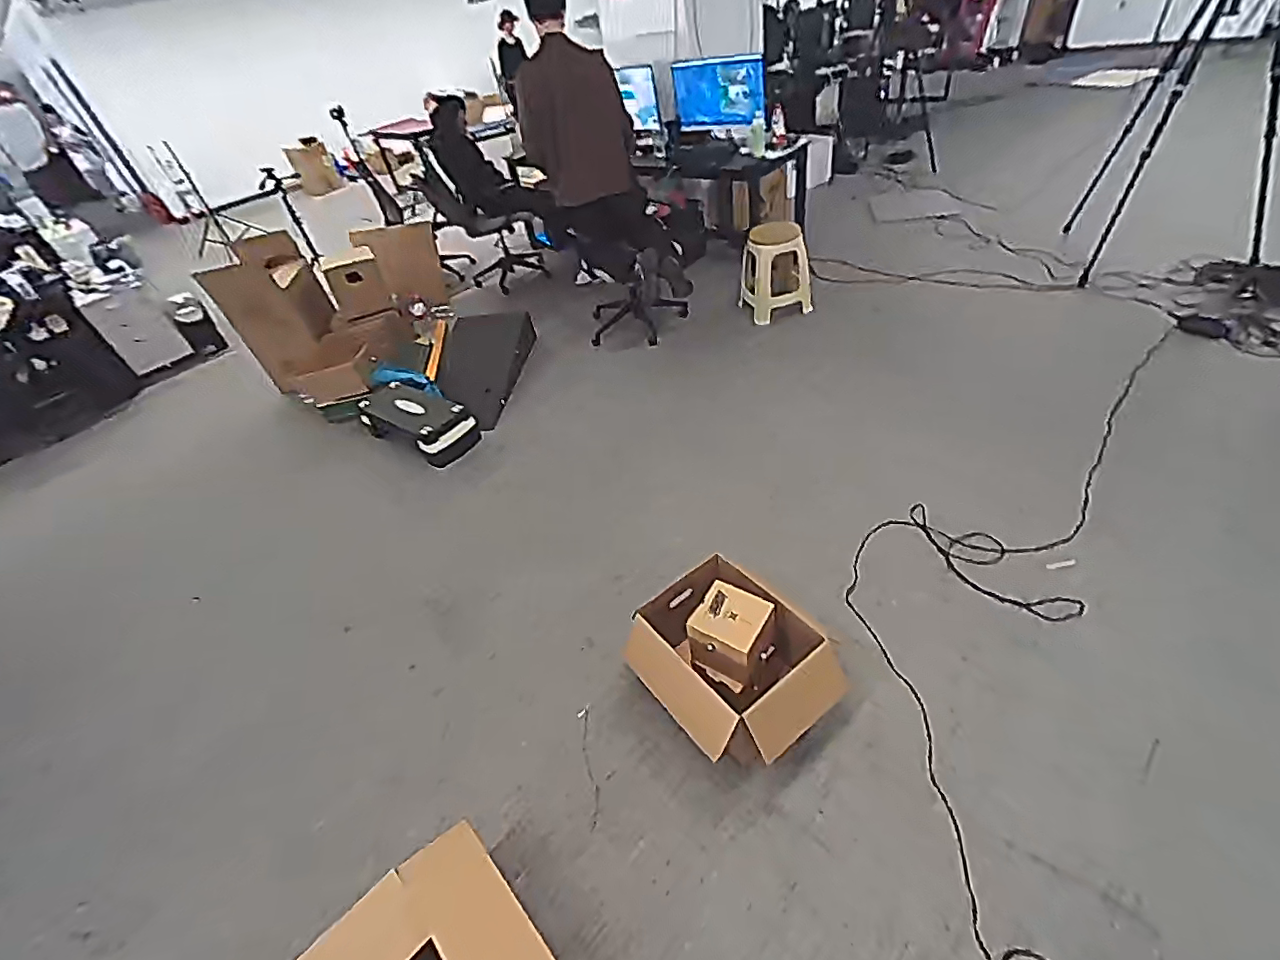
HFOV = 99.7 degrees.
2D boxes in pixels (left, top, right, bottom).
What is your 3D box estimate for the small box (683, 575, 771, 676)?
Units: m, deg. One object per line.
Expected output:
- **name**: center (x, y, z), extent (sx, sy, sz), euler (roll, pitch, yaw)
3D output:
- **small box**: center (0.239, 0.395, 1.458), extent (0.179, 0.176, 0.168), euler (23, 53, 33)
